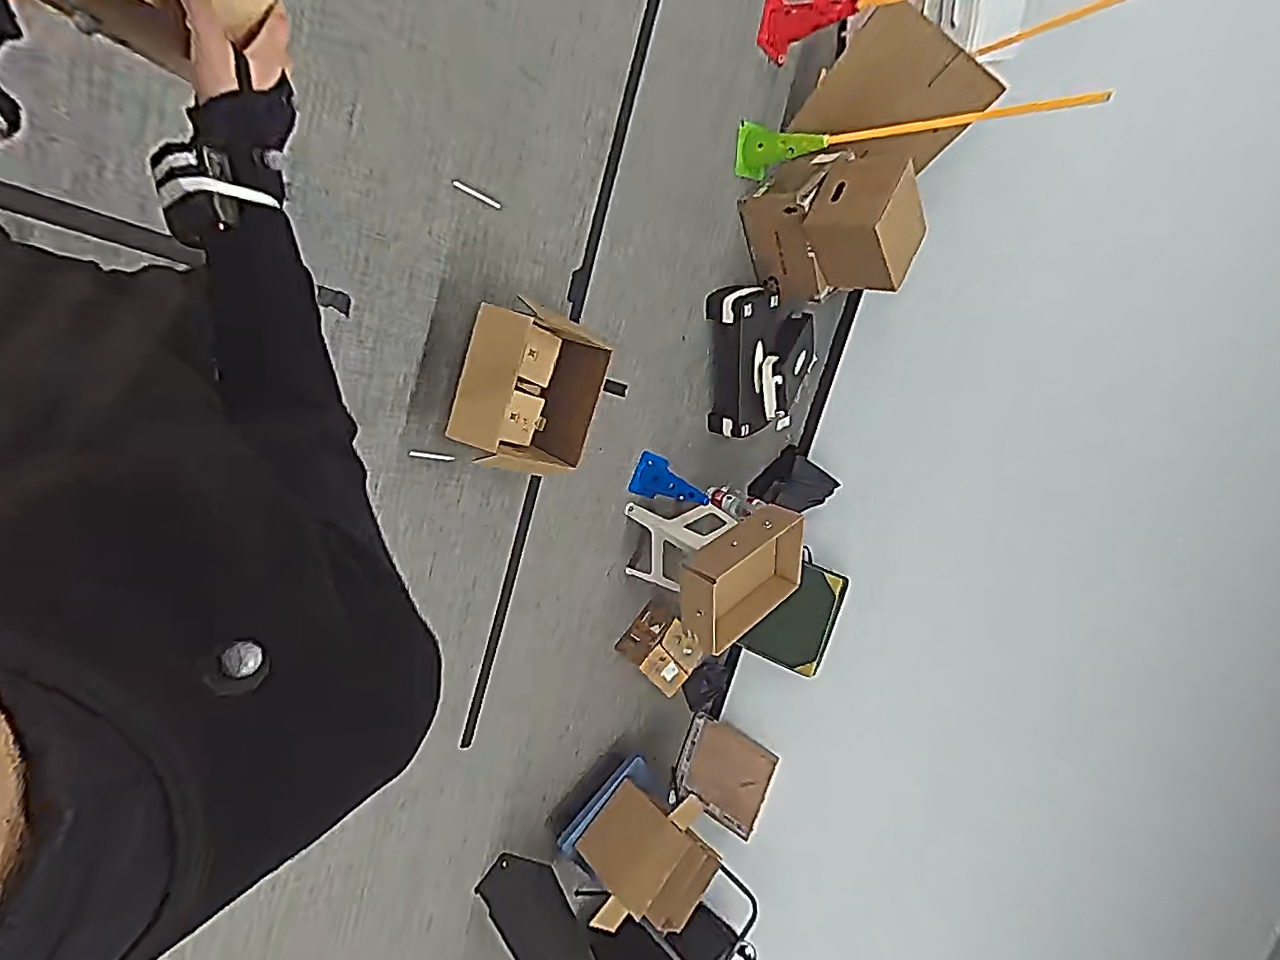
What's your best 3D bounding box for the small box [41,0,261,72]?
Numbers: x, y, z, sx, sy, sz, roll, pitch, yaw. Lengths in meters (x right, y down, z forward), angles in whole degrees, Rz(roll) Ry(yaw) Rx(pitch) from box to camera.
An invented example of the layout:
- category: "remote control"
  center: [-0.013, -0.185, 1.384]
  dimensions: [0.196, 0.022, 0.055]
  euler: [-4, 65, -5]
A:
- category: "small box"
  center: [-0.423, -0.474, 0.434]
  dimensions: [0.168, 0.176, 0.179]
  euler: [6, 104, -56]
